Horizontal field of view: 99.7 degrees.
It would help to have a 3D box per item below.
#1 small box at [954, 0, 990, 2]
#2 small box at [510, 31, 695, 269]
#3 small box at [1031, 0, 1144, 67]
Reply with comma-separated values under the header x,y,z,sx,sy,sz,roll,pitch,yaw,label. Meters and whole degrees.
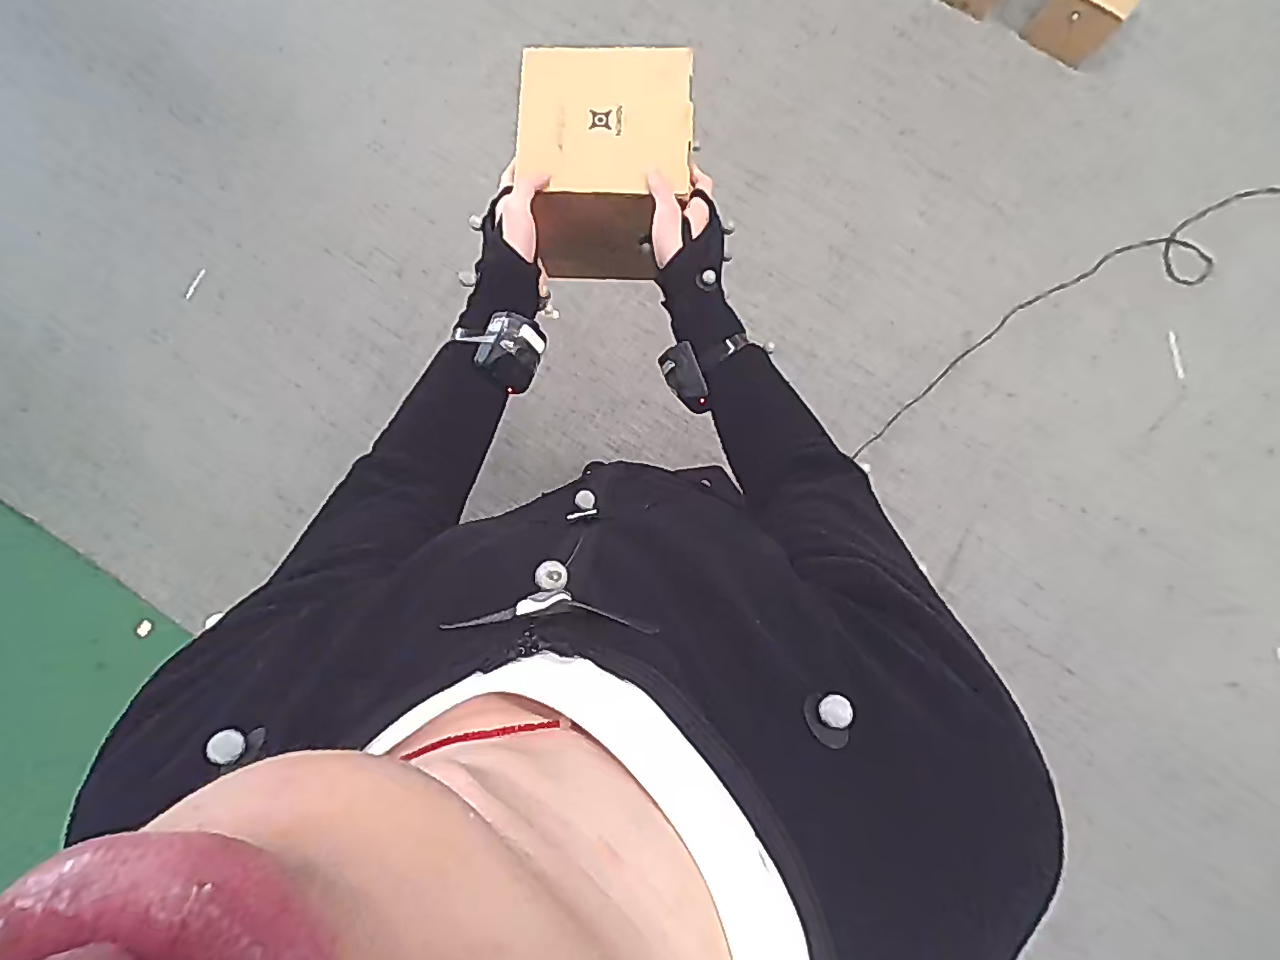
x,y,z,sx,sy,sz,roll,pitch,yaw,label
0.926,-1.383,1.392,0.179,0.176,0.168,0,89,4,small box
-0.033,-0.360,0.618,0.179,0.176,0.168,3,81,3,small box
1.164,-1.223,1.385,0.179,0.176,0.168,37,95,2,small box
